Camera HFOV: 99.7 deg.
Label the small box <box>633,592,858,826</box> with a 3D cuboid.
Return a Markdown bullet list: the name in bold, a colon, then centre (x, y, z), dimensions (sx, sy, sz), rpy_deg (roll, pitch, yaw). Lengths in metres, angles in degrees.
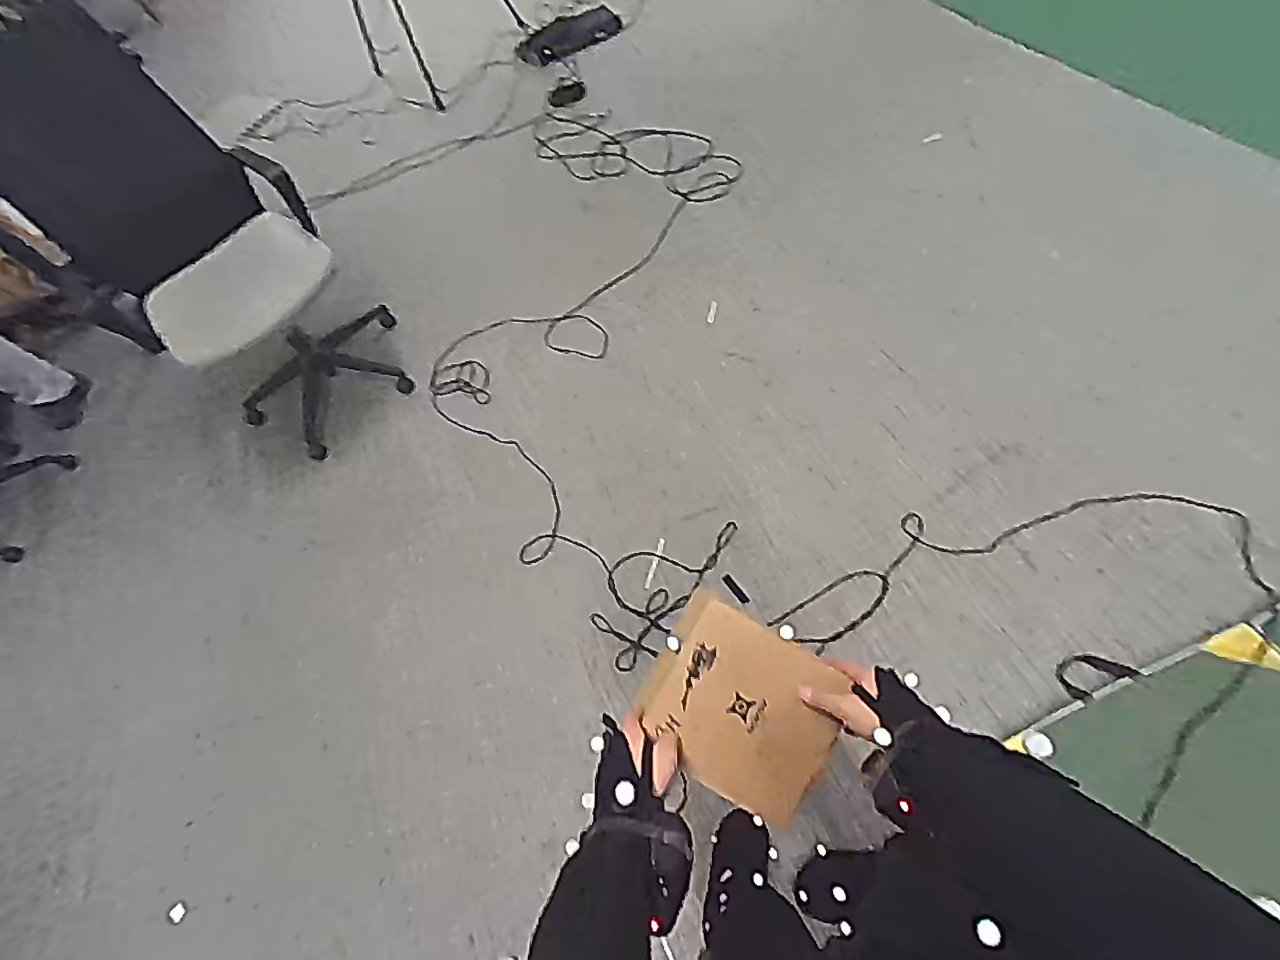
- **small box**: centre (0.109, 0.240, 0.625), dimensions (0.179, 0.176, 0.168), rpy_deg (31, 83, 5)
